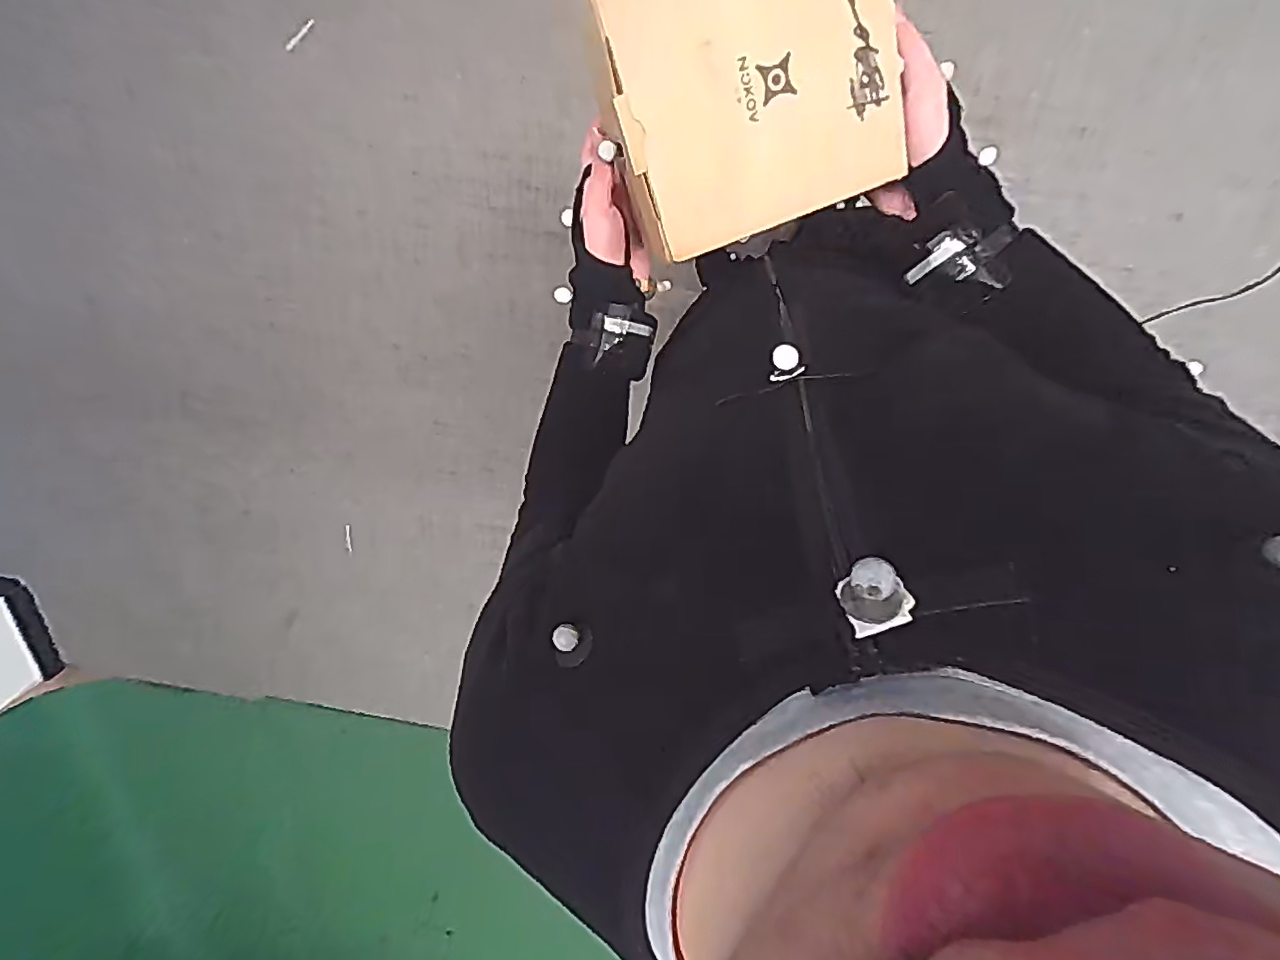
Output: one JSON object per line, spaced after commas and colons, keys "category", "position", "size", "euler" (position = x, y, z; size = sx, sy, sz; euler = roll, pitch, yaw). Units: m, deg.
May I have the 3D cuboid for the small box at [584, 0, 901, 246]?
{"category": "small box", "position": [0.065, -0.292, 0.409], "size": [0.179, 0.176, 0.168], "euler": [-20, 118, 4]}
